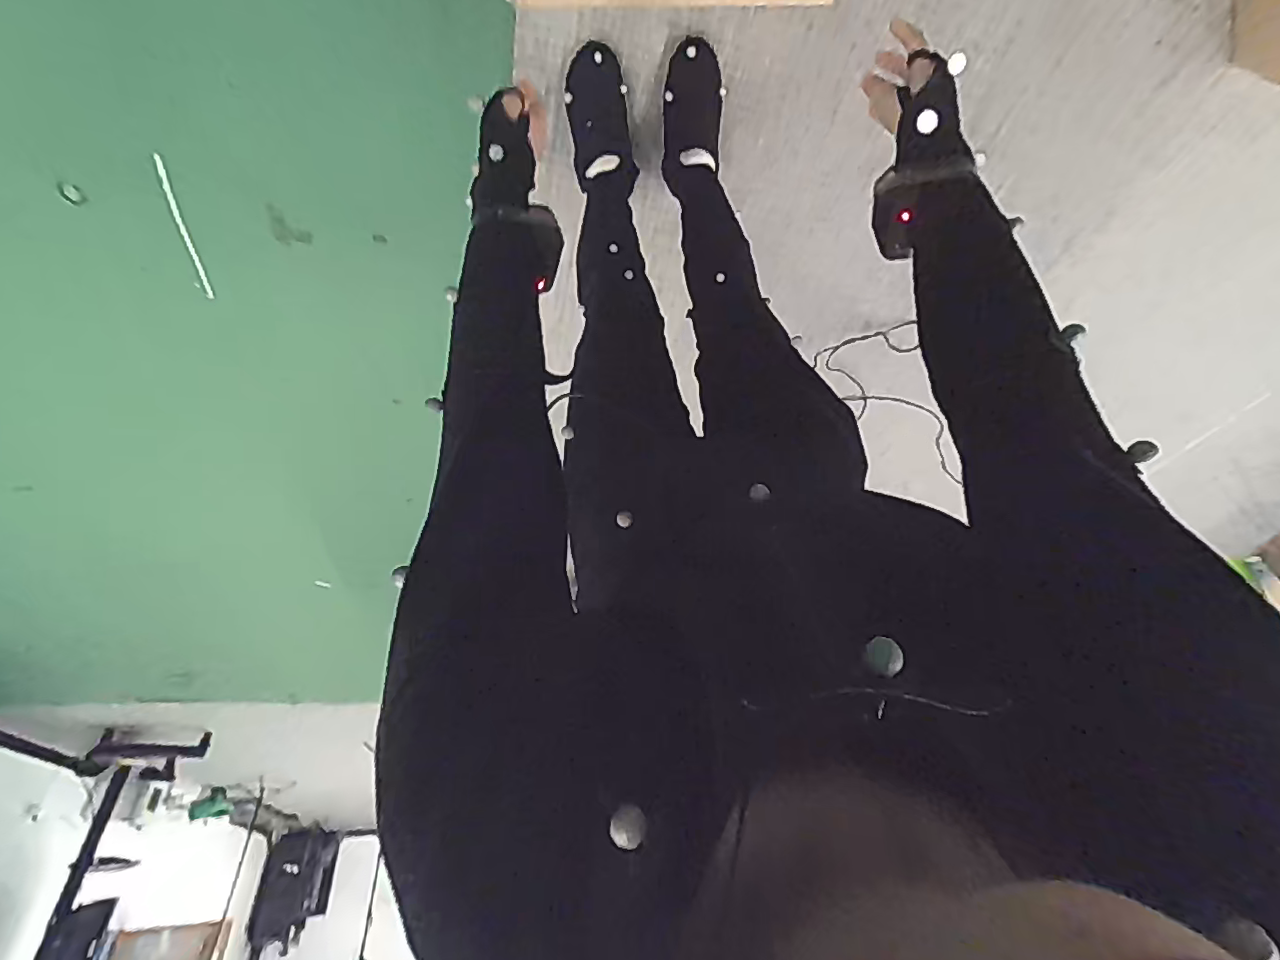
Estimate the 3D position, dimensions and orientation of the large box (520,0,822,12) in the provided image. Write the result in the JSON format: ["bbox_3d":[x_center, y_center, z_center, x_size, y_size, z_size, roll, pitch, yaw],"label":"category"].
[{"bbox_3d":[0.041,-0.808,0.650,0.408,0.320,0.320,-2,141,-1],"label":"large box"}]

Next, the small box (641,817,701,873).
[{"bbox_3d":[0.109,1.328,1.984,0.179,0.176,0.168,5,139,-12],"label":"small box"}]
